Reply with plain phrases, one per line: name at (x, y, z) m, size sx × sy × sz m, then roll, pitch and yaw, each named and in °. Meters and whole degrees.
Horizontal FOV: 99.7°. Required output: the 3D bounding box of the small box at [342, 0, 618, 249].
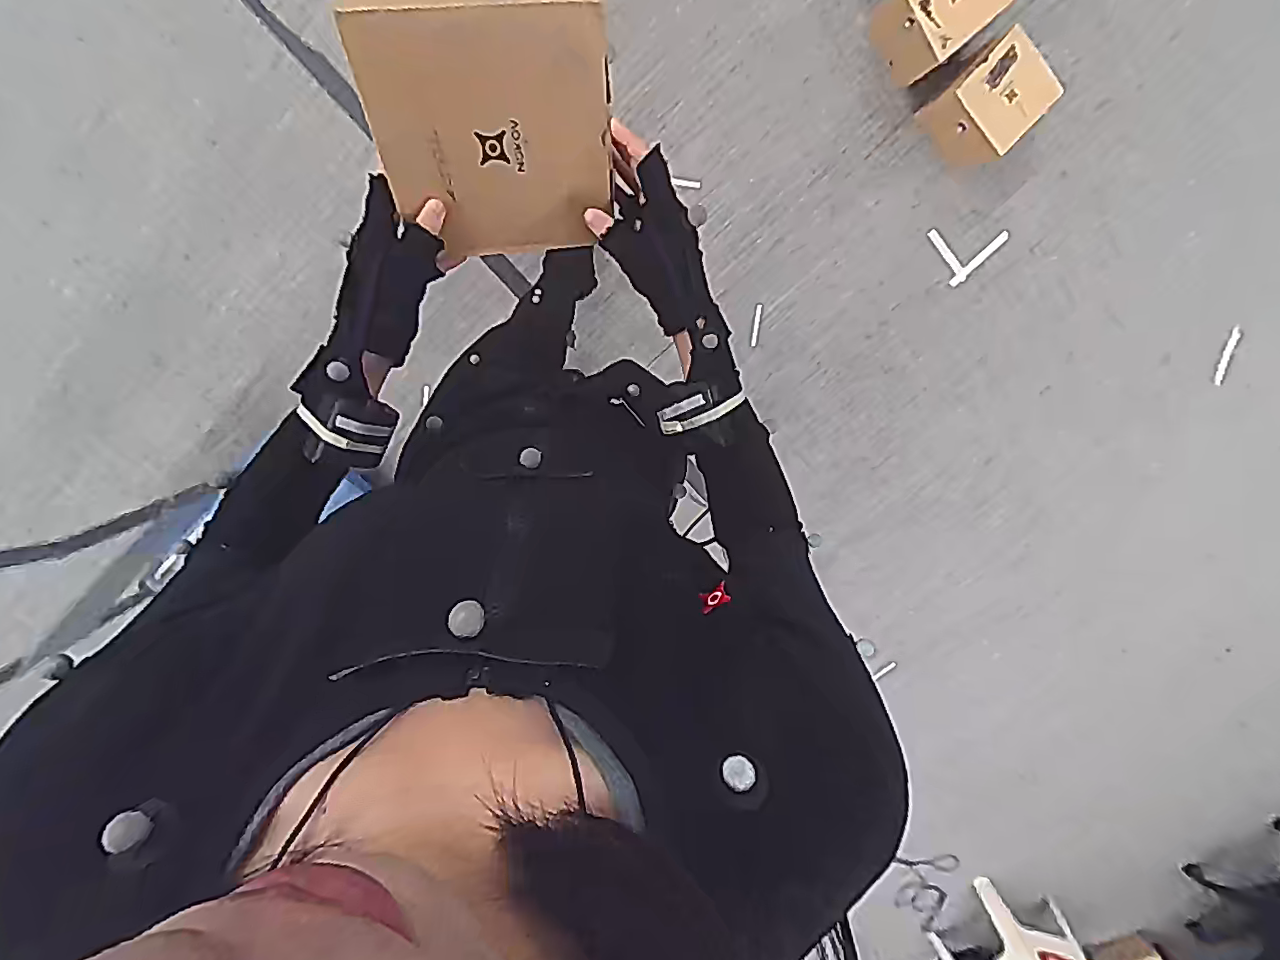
small box at (-0.118, -0.319, 0.459) m, size 0.179 × 0.176 × 0.168 m, roll -7°, pitch 139°, yaw -6°

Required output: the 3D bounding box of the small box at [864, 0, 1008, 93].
small box at (0.617, -0.981, 1.147) m, size 0.179 × 0.176 × 0.168 m, roll -38°, pitch 106°, yaw 9°

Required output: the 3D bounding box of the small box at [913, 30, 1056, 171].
small box at (0.755, -0.828, 1.207) m, size 0.179 × 0.176 × 0.168 m, roll 40°, pitch 103°, yaw -15°
